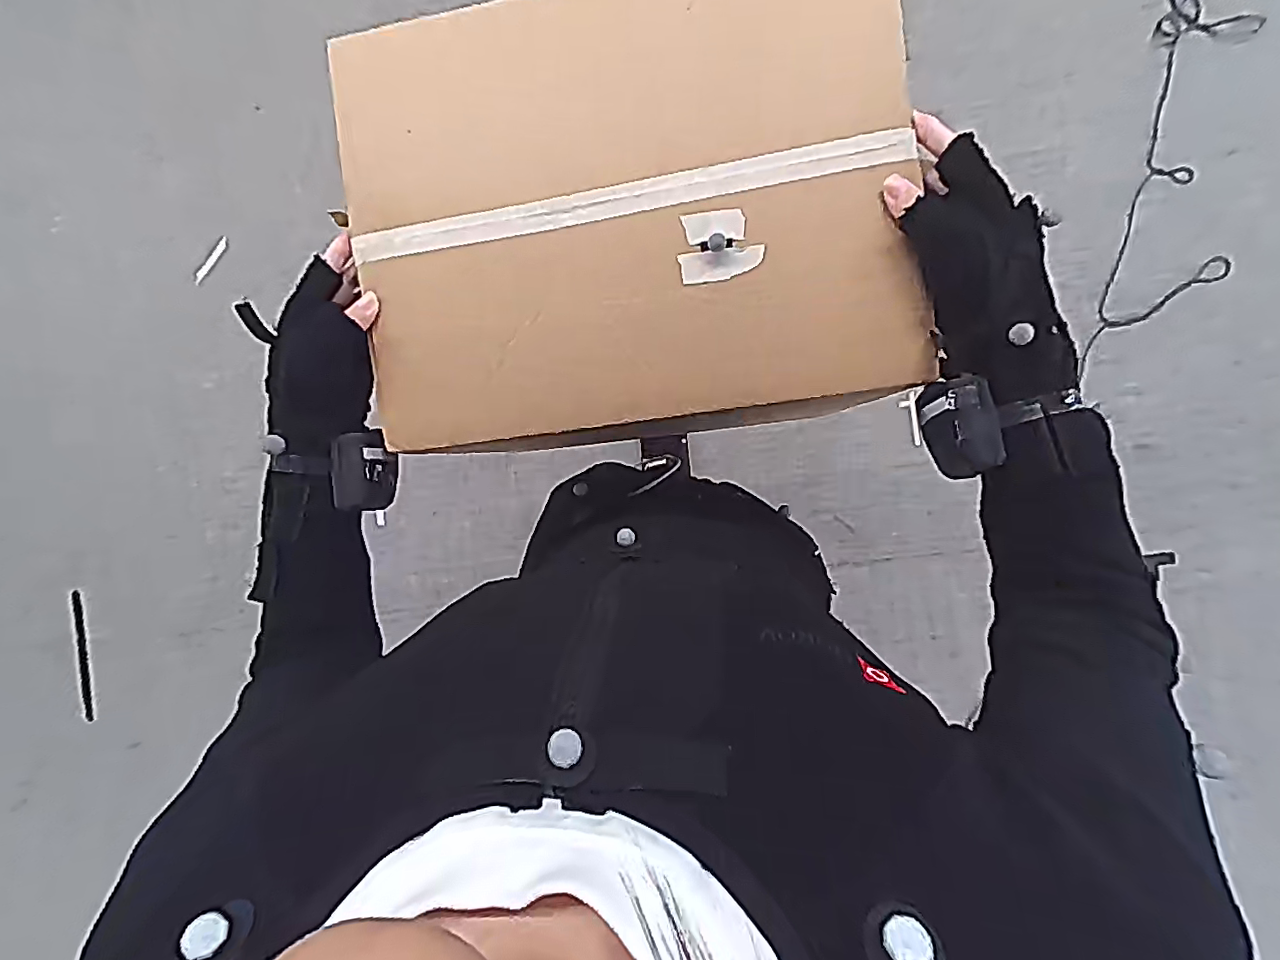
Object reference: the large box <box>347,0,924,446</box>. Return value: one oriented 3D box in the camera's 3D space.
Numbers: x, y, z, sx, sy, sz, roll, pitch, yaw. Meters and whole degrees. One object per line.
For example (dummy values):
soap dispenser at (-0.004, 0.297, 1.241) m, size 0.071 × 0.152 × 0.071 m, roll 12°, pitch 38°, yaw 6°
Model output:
large box at (0.002, -0.215, 0.547) m, size 0.408 × 0.320 × 0.320 m, roll -7°, pitch 93°, yaw 7°
